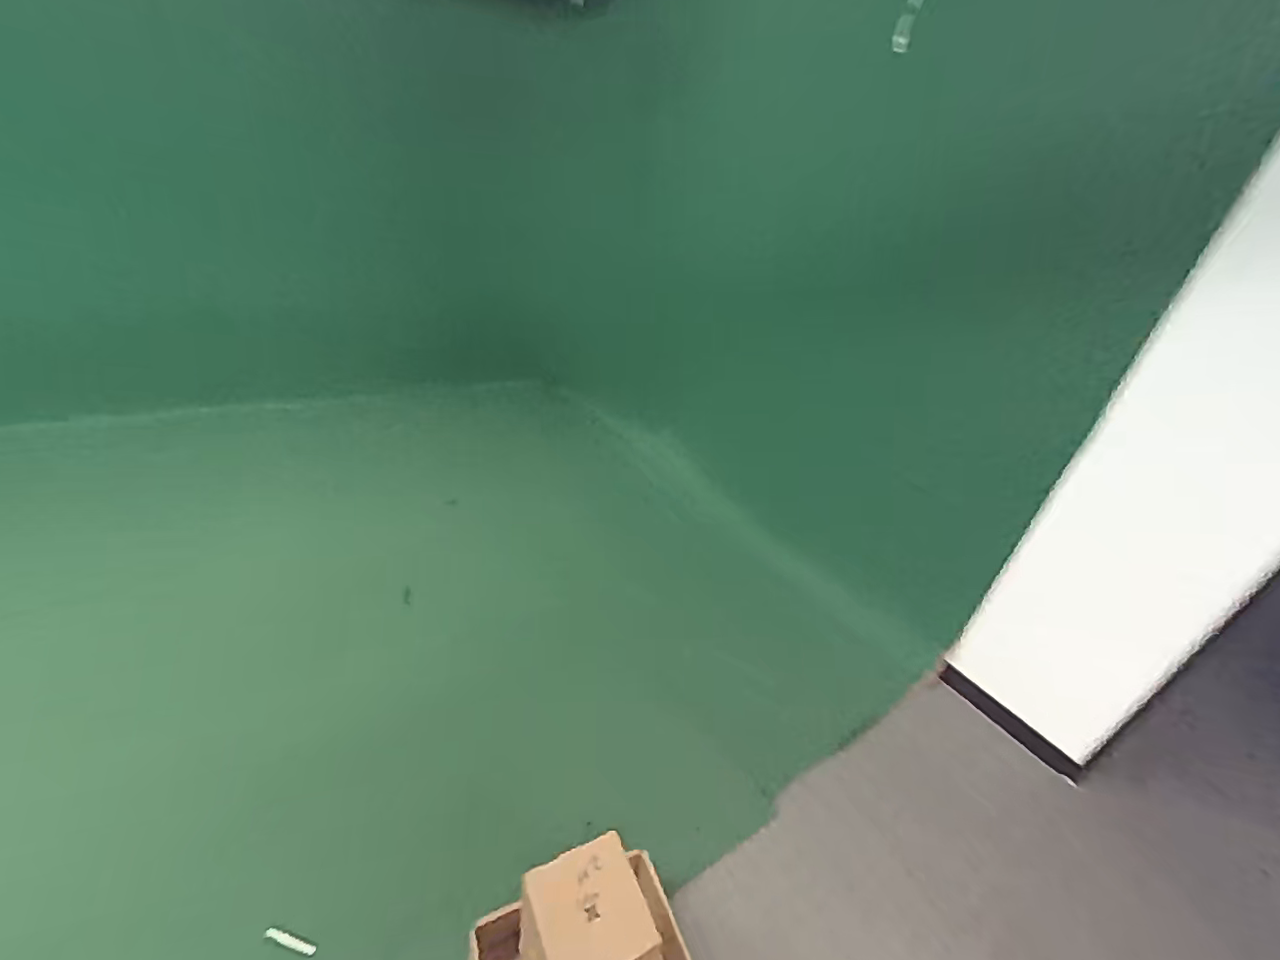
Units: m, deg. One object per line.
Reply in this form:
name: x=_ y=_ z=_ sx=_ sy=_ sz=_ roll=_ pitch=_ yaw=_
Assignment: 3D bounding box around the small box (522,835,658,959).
small box: x=-0.089 y=0.739 z=0.885 sx=0.168 sy=0.176 sz=0.179 roll=-9 pitch=37 yaw=-26
